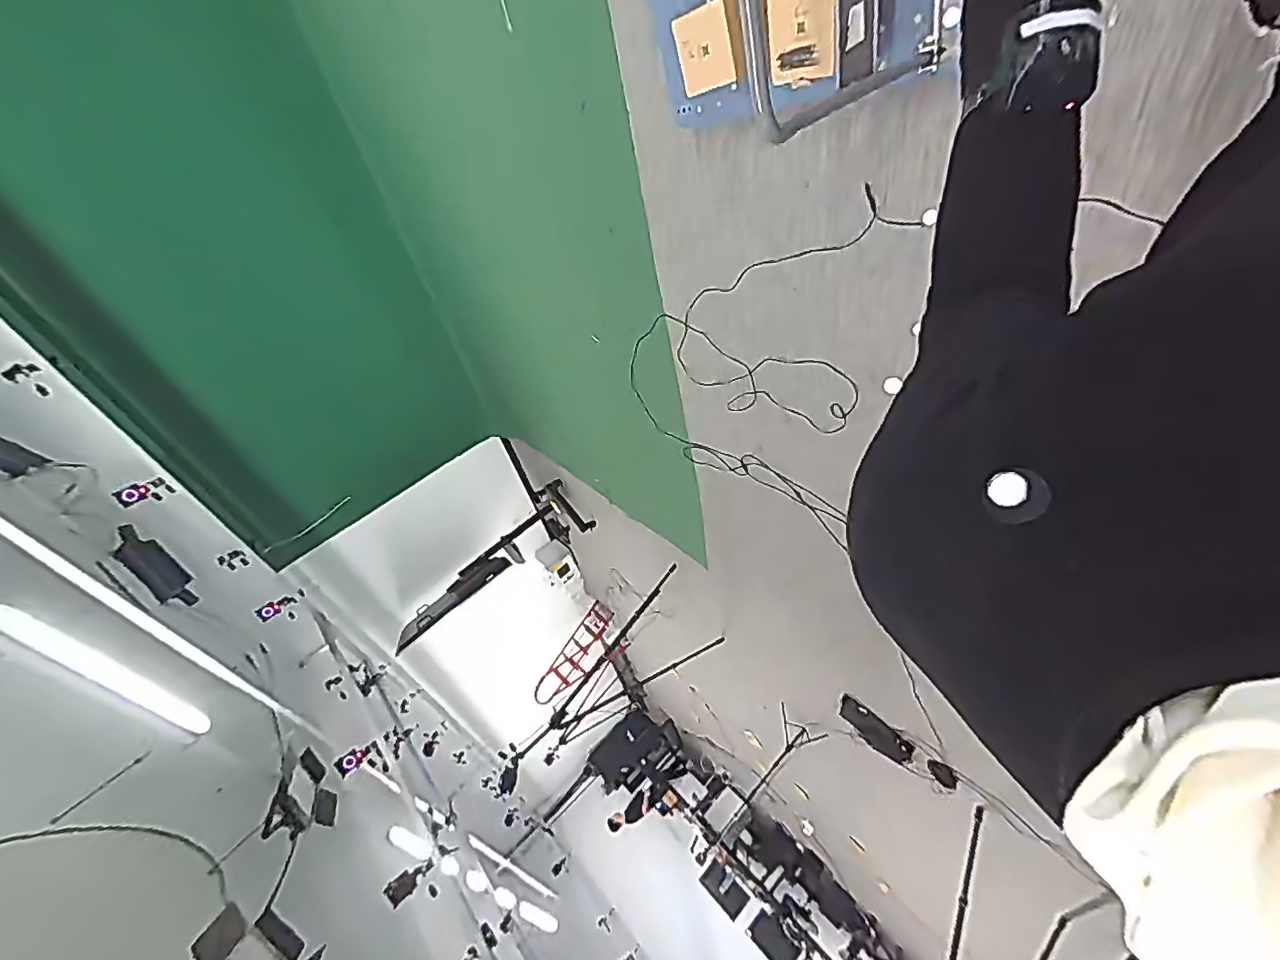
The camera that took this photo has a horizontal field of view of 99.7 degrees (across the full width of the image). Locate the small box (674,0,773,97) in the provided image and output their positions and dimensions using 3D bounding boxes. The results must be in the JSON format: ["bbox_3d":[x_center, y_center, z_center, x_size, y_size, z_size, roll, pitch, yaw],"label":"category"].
[{"bbox_3d":[0.220,-1.109,1.370,0.179,0.176,0.168,23,143,47],"label":"small box"}]
